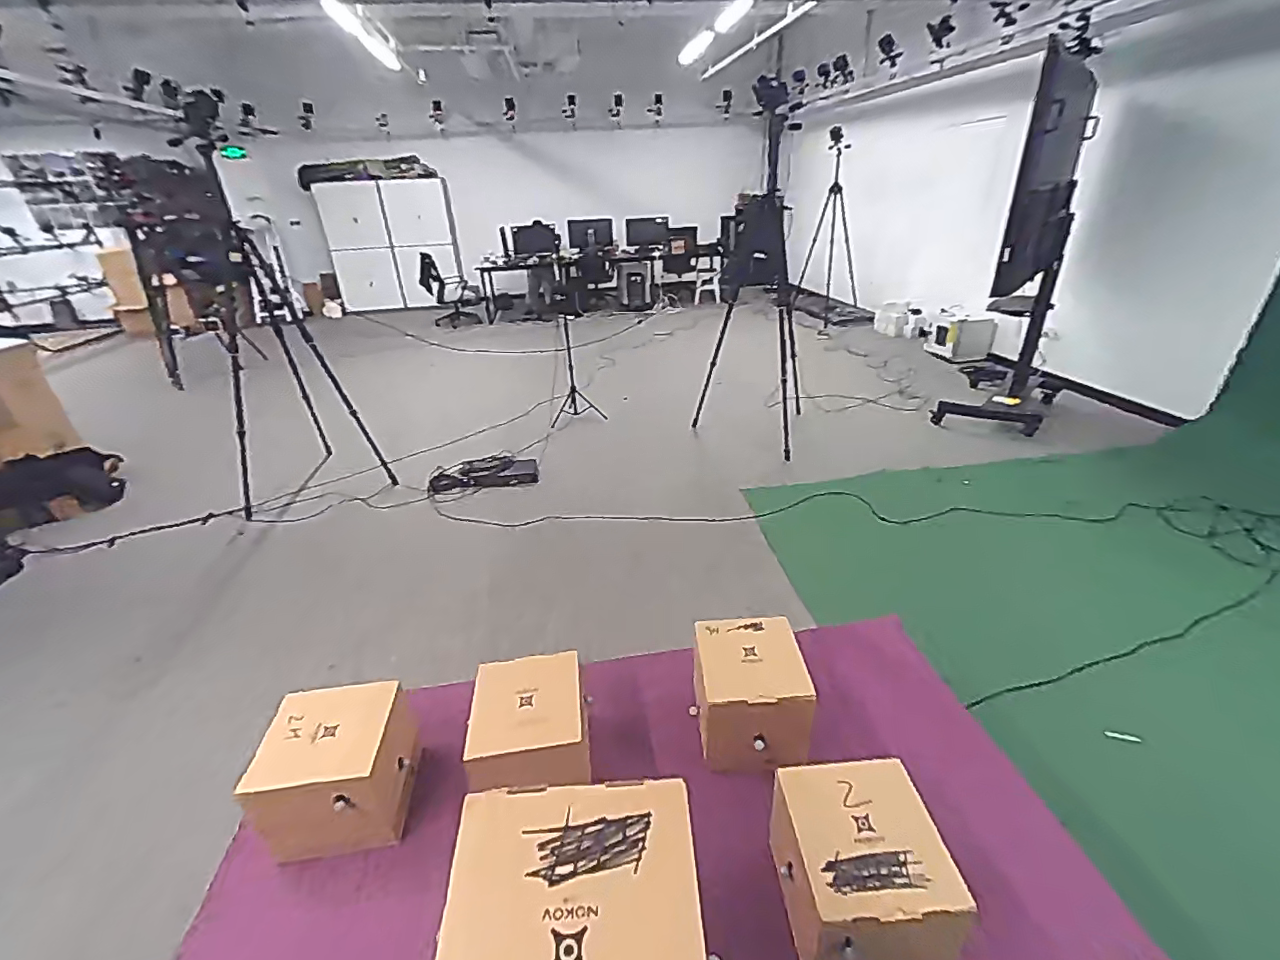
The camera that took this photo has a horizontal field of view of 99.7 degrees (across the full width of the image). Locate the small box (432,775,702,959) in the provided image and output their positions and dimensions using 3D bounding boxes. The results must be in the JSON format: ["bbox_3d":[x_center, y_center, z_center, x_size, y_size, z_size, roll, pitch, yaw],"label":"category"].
[{"bbox_3d":[-0.043,0.342,0.387,0.168,0.176,0.179,-4,38,-1],"label":"small box"}]

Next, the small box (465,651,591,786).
[{"bbox_3d":[-0.169,0.407,0.866,0.168,0.176,0.179,-7,29,-5],"label":"small box"}]

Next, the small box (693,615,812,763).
[{"bbox_3d":[0.181,0.355,0.915,0.168,0.176,0.179,-4,29,0],"label":"small box"}]

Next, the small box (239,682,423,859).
[{"bbox_3d":[-0.452,0.442,0.830,0.179,0.176,0.168,-6,28,-5],"label":"small box"}]
